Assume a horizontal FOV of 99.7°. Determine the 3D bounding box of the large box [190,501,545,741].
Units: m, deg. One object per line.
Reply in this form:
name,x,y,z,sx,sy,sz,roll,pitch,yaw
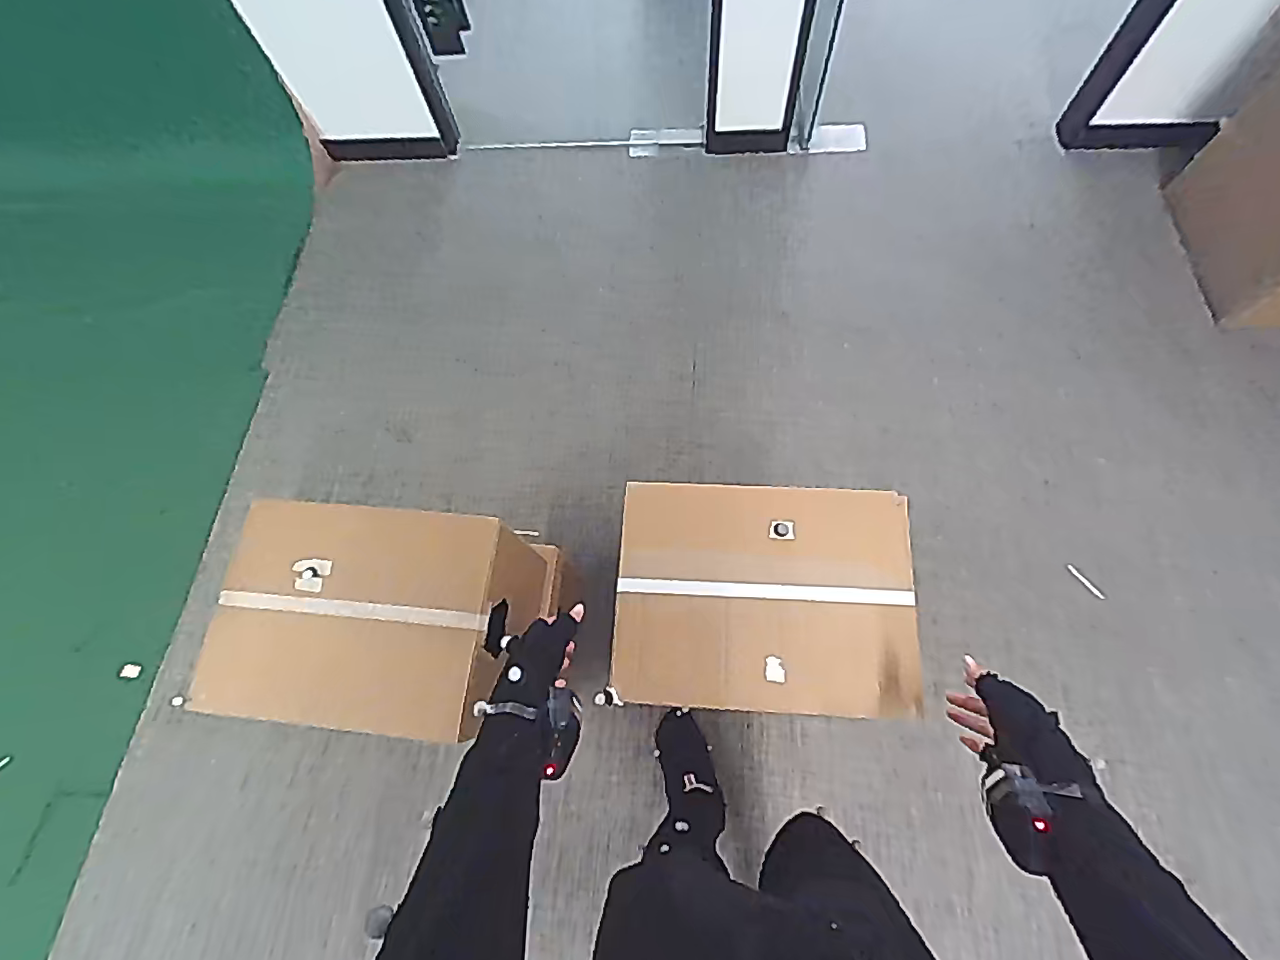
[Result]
large box,-0.410,0.234,0.923,0.408,0.320,0.320,4,71,8
